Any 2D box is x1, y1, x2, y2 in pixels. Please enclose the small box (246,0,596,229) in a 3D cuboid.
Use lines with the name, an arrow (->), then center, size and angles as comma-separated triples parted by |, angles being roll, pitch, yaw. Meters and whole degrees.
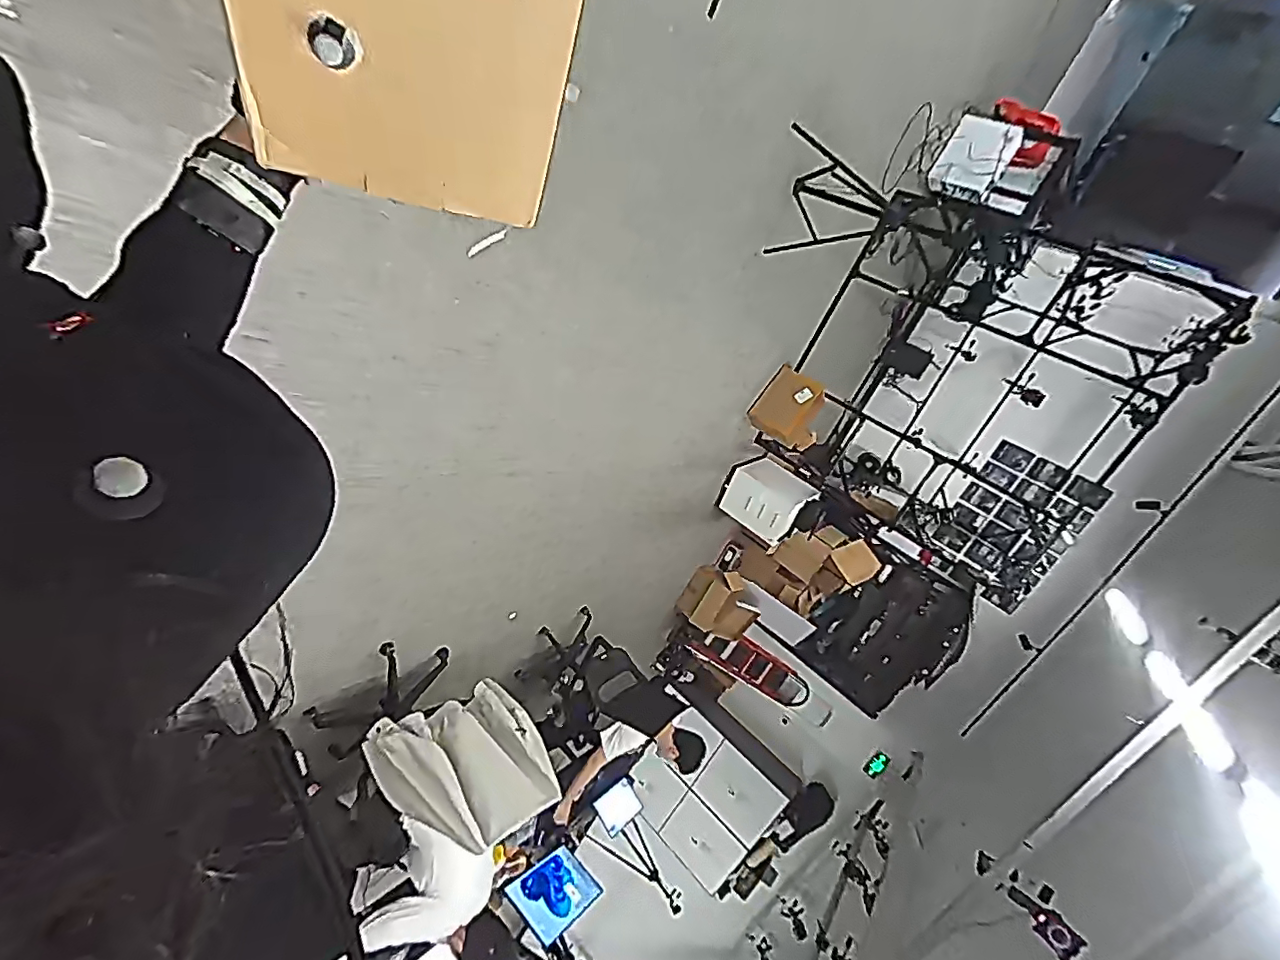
small box -> -0.123, -0.292, 0.323 | 0.168, 0.179, 0.176 | 6, 145, -22
